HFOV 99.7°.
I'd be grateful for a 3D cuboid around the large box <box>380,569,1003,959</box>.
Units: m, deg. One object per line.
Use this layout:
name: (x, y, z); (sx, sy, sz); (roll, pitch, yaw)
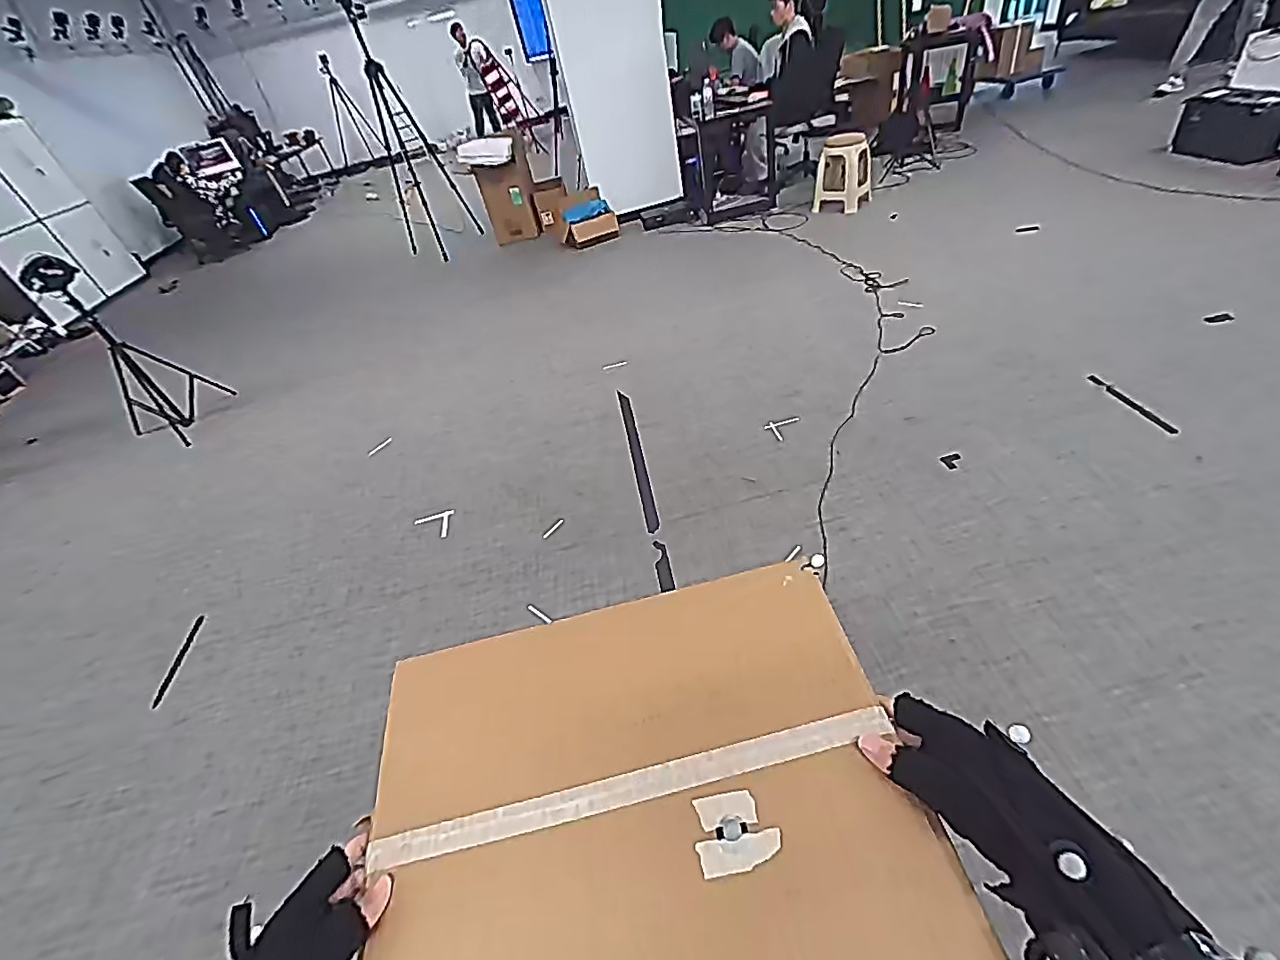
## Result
large box: (0.022, 0.343, 0.527); (0.408, 0.320, 0.320); (-14, 47, -2)
